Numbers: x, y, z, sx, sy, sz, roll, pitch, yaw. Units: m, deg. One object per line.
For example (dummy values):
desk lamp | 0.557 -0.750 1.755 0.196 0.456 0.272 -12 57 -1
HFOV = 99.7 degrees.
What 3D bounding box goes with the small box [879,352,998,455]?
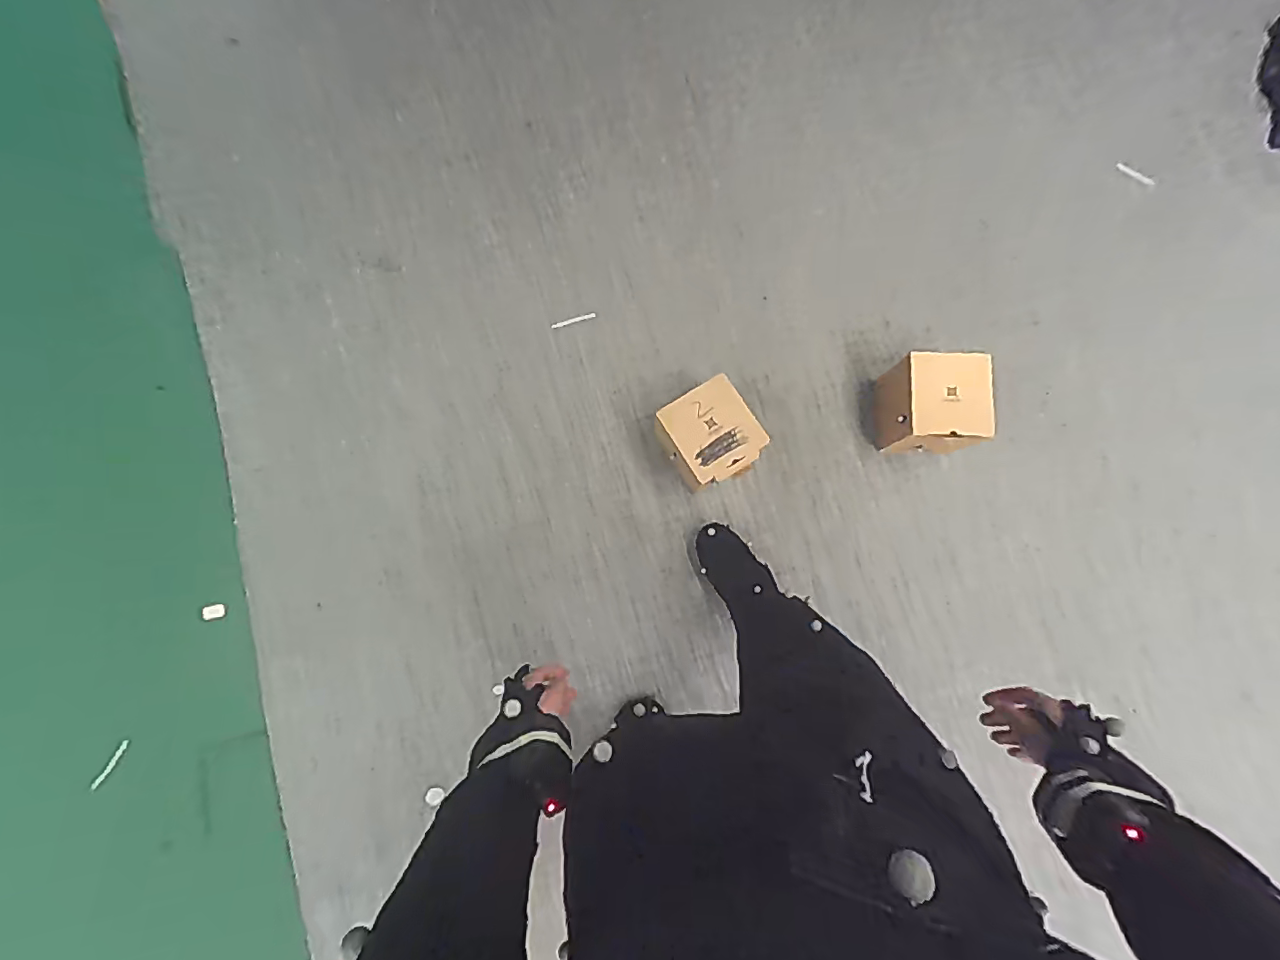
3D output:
small box | 0.628 -0.159 1.158 0.168 0.176 0.179 2 82 1
